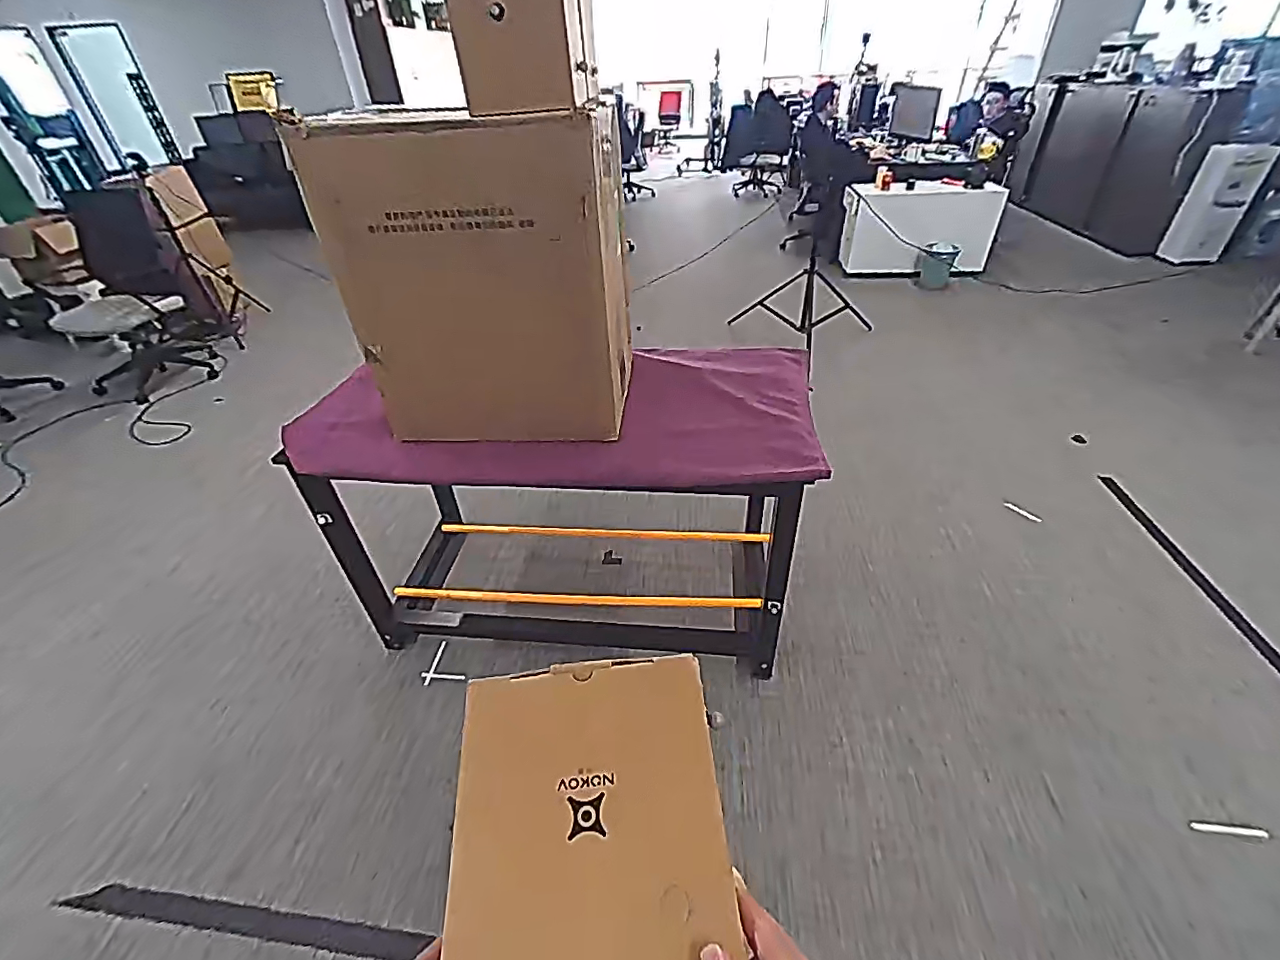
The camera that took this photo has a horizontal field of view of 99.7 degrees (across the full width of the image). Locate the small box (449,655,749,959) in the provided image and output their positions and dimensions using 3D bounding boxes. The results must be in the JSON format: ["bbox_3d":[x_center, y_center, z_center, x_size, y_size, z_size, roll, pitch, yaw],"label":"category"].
[{"bbox_3d":[-0.024,0.251,0.396,0.168,0.176,0.179,-7,51,-1],"label":"small box"}]

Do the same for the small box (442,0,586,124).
[{"bbox_3d":[-0.193,-0.685,0.874,0.179,0.176,0.168,-2,38,4],"label":"small box"}]
